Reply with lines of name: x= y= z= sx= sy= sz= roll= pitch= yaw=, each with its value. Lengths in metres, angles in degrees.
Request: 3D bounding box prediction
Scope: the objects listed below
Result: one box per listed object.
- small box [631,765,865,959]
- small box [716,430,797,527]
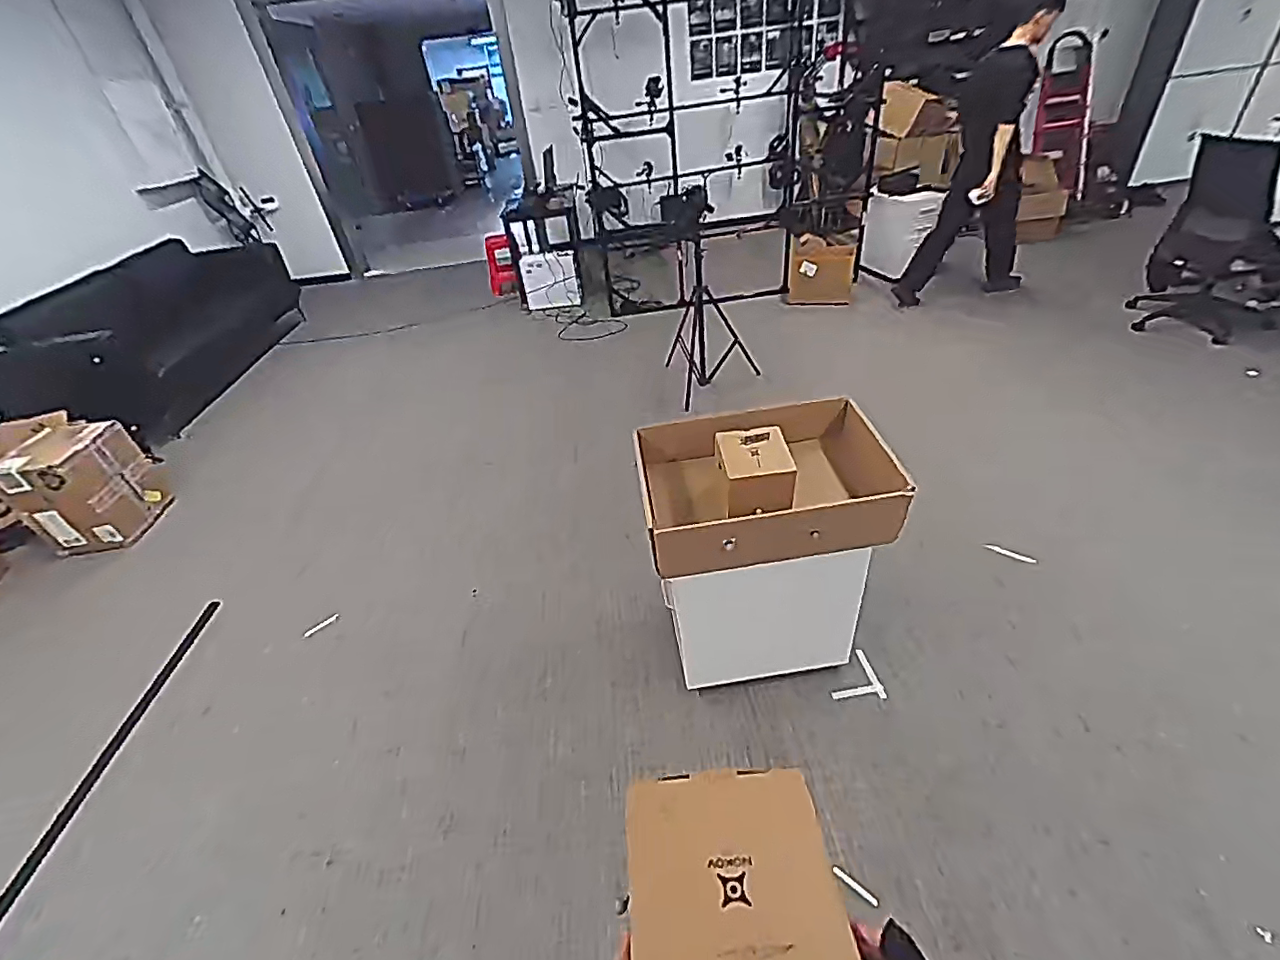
small box: x=0.077 y=0.382 z=0.469 sx=0.168 sy=0.176 sz=0.179 roll=-3 pitch=33 yaw=-2
small box: x=0.288 y=-0.004 z=1.383 sx=0.168 sy=0.176 sz=0.179 roll=-8 pitch=43 yaw=0
